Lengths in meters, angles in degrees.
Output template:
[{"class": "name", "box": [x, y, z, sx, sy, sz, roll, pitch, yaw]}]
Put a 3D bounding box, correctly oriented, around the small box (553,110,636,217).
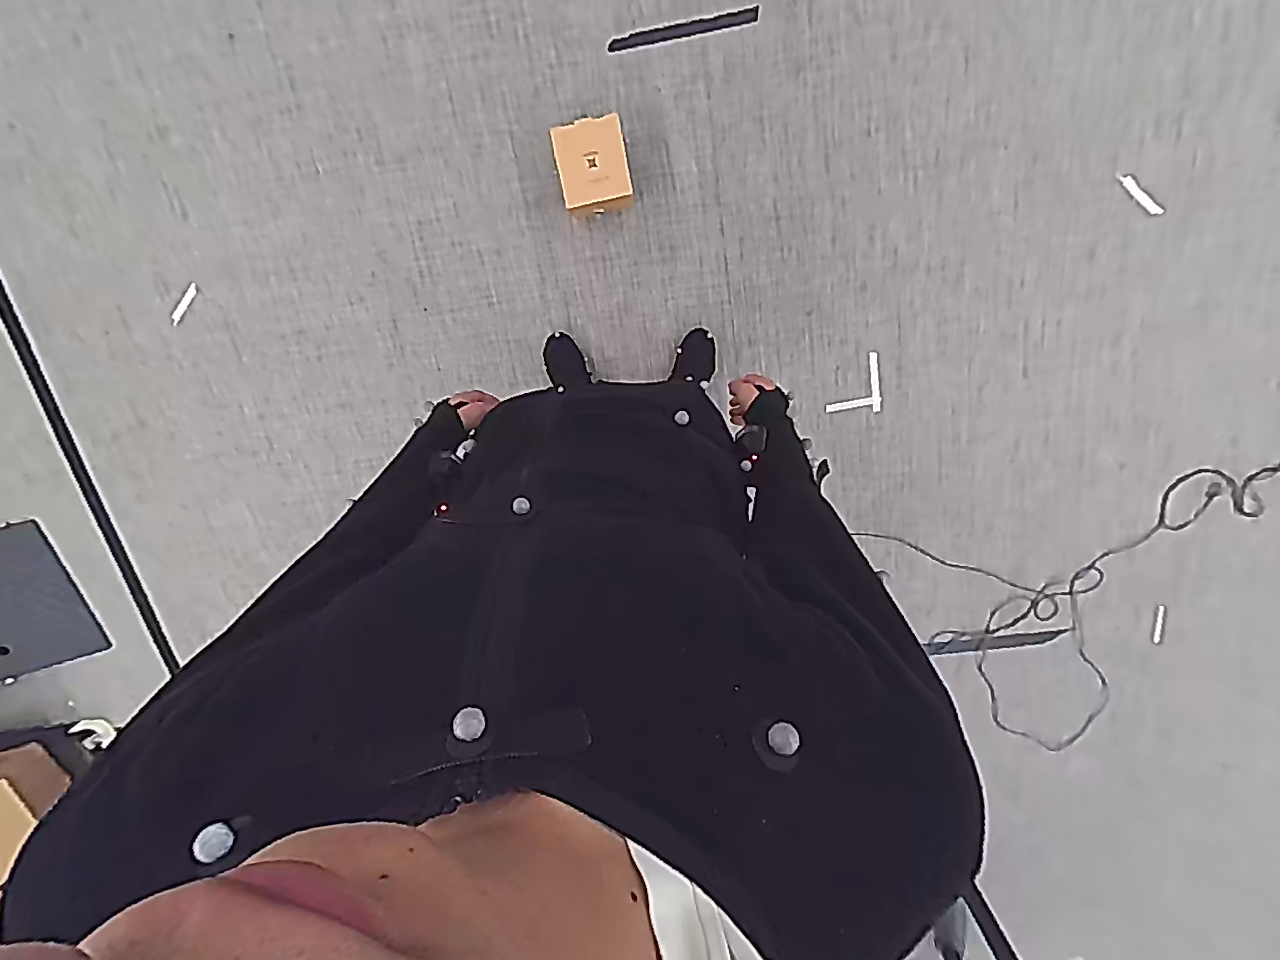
[{"class": "small box", "box": [-0.106, -0.772, 1.338, 0.168, 0.176, 0.179, -10, 107, 5]}]
